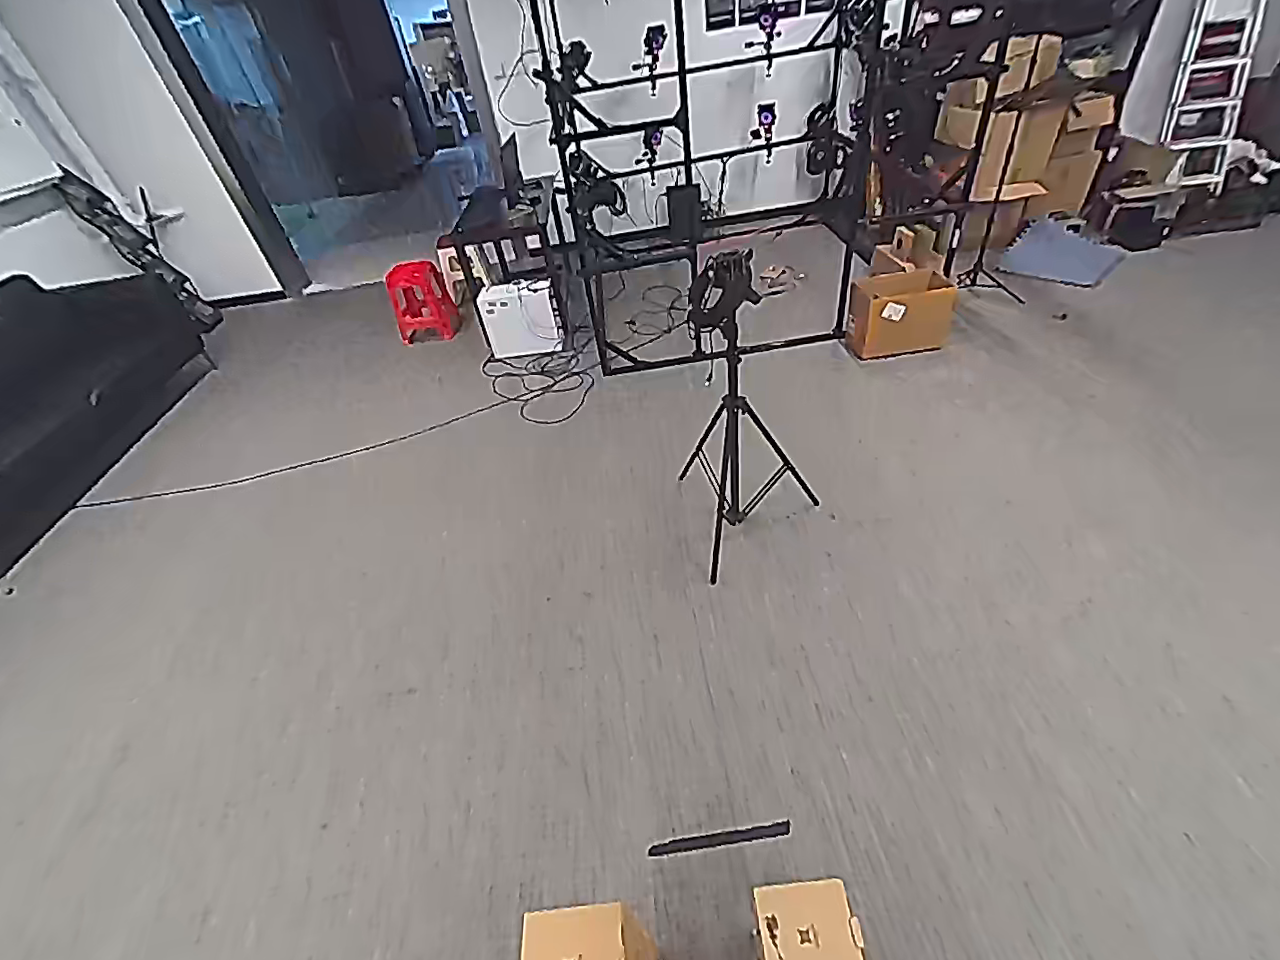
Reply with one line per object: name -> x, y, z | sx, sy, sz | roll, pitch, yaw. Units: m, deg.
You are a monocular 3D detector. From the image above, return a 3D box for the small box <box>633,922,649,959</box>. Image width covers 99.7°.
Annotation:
small box -> -0.066, 0.979, 1.025 | 0.168, 0.176, 0.179 | -12, 41, -1

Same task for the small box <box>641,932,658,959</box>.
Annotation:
small box -> -0.037, 1.097, 1.136 | 0.168, 0.176, 0.179 | -13, 41, -3

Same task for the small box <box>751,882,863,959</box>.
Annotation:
small box -> 0.316, 0.898, 1.040 | 0.179, 0.176, 0.168 | -7, 41, 2

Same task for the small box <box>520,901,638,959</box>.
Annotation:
small box -> -0.100, 0.853, 0.928 | 0.179, 0.176, 0.168 | -9, 41, 2
